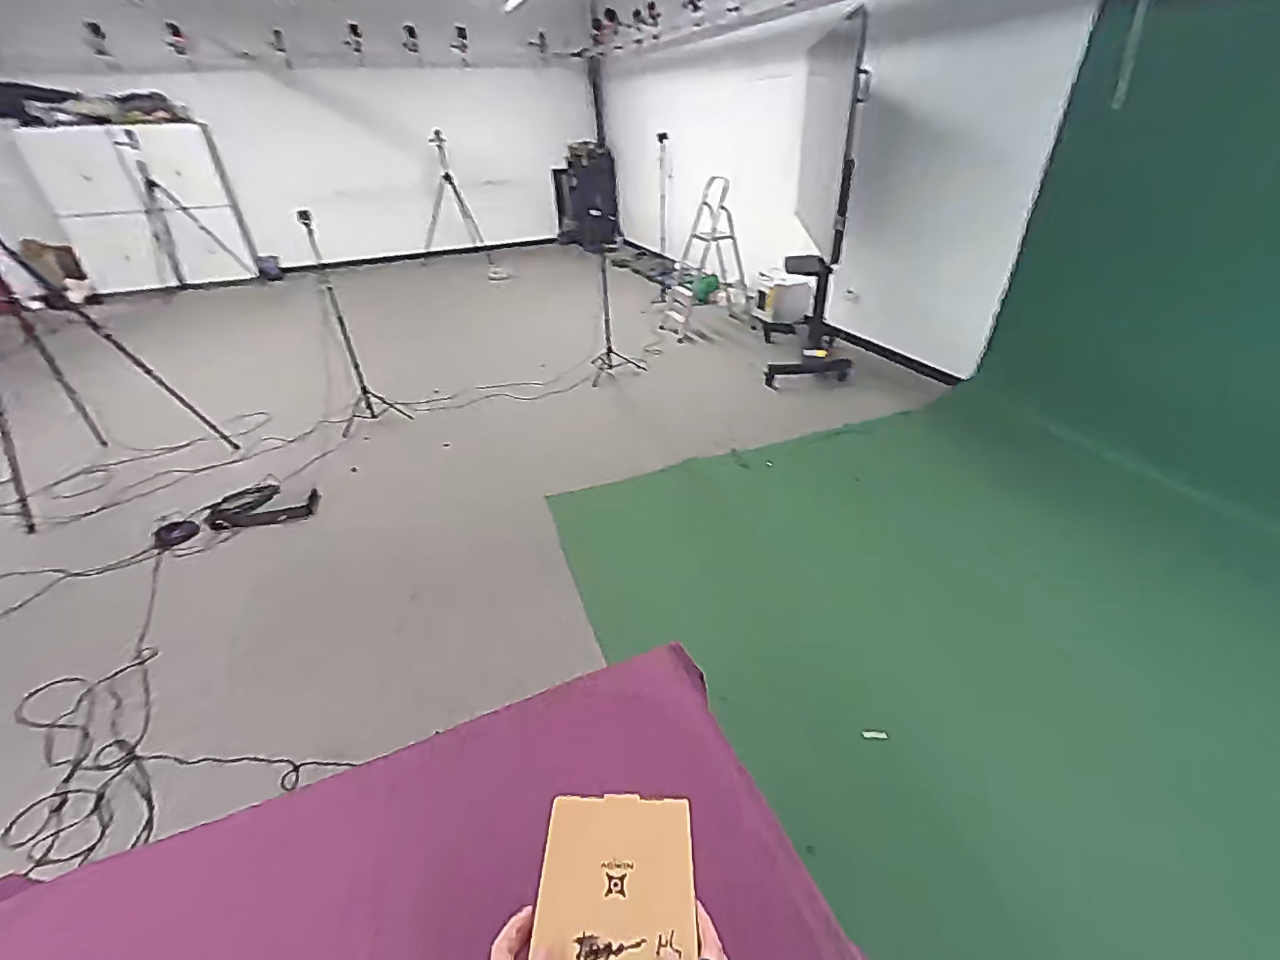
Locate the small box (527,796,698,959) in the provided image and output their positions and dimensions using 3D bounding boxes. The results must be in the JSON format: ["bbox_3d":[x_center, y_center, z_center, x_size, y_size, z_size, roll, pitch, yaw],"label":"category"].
[{"bbox_3d":[-0.023,0.497,0.615,0.168,0.176,0.179,1,28,2],"label":"small box"}]
